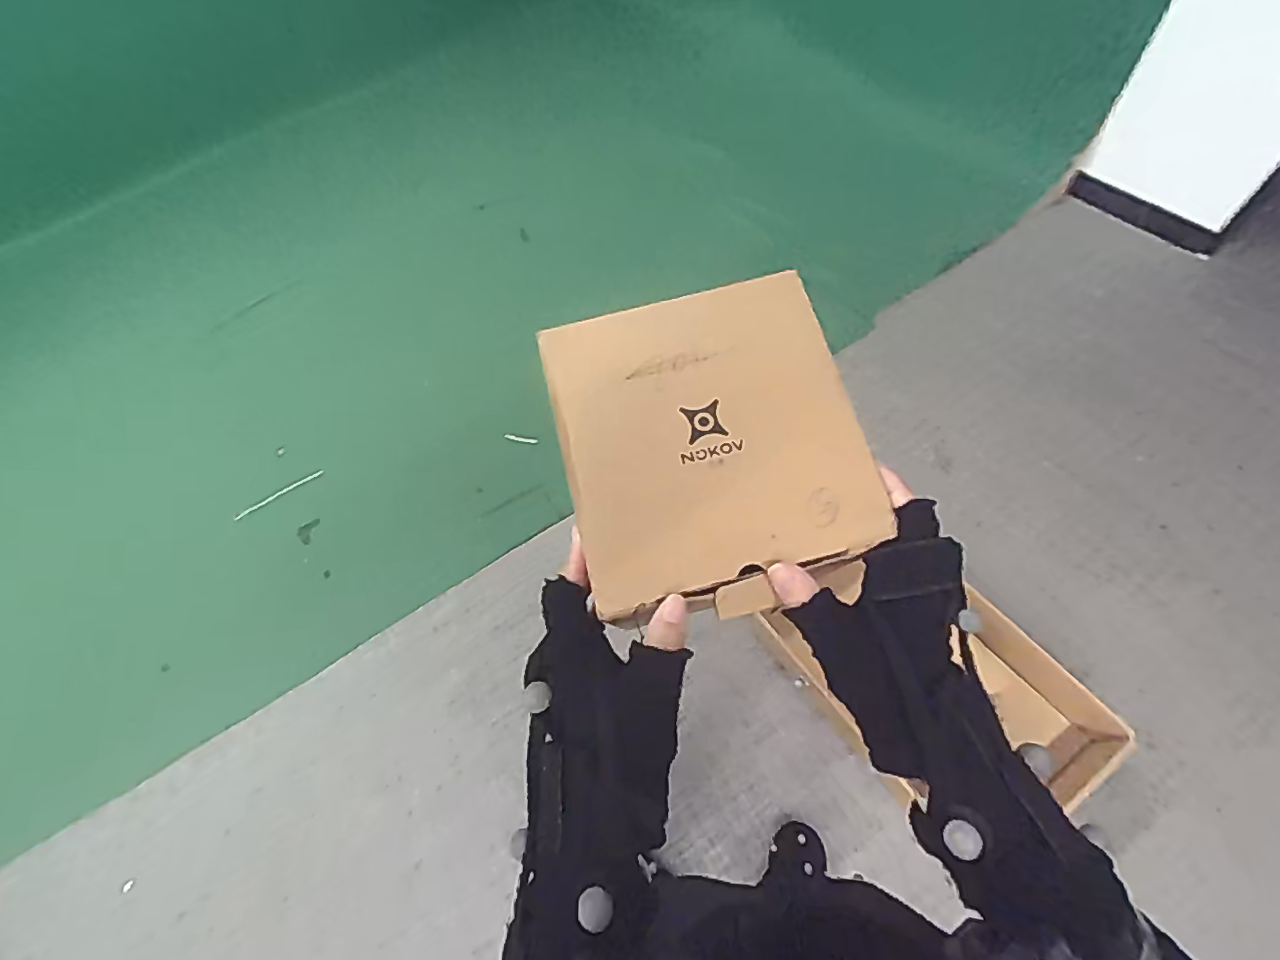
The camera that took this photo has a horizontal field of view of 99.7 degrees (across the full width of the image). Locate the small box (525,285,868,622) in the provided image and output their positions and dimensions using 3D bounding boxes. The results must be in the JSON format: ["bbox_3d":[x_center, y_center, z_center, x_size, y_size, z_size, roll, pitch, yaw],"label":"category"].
[{"bbox_3d":[0.031,-0.001,0.390,0.168,0.176,0.179,-14,72,-2],"label":"small box"}]
